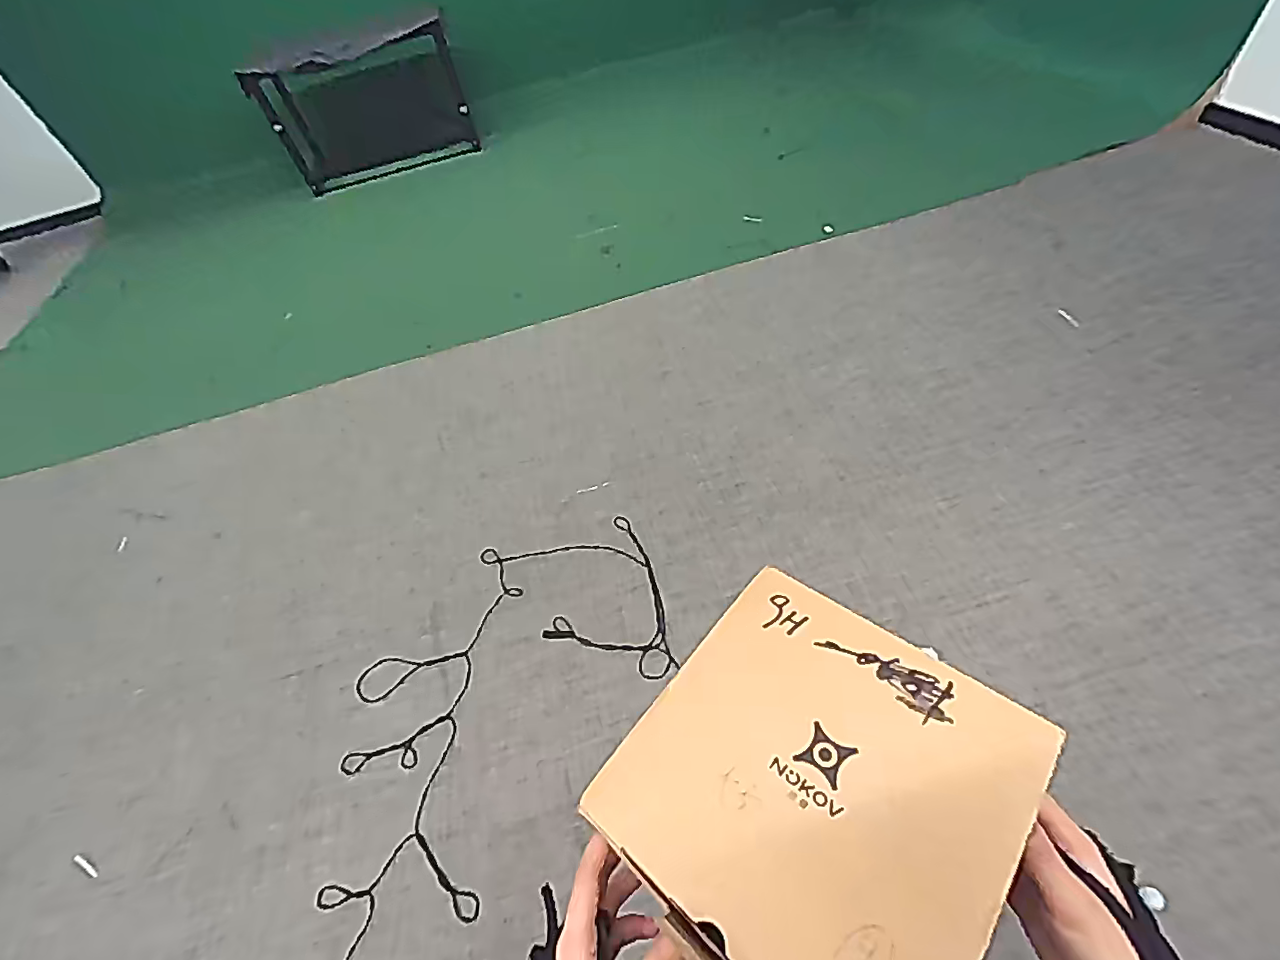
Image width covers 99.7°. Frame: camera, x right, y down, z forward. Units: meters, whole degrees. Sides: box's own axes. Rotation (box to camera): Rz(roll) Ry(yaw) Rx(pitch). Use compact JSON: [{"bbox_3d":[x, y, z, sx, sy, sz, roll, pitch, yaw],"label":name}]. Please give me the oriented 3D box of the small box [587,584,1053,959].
[{"bbox_3d":[0.100,0.205,0.326,0.168,0.176,0.179,28,59,33],"label":"small box"}]
